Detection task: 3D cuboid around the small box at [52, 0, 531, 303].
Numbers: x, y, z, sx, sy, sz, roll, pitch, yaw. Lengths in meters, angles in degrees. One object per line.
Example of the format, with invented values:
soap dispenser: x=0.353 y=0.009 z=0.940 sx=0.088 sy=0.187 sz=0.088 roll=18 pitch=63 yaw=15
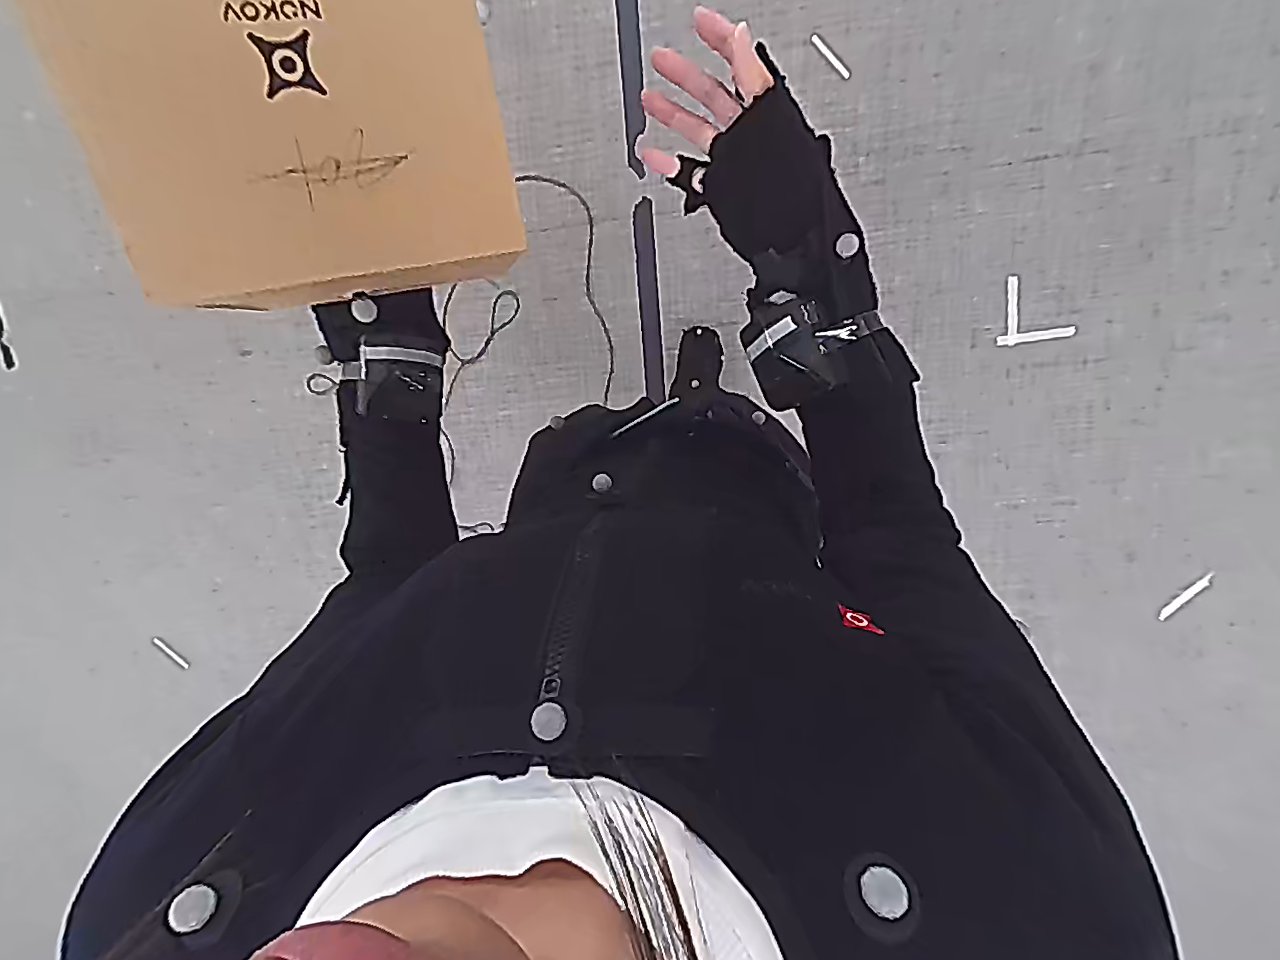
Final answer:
small box: x=-0.170 y=-0.204 z=0.305 sx=0.168 sy=0.176 sz=0.179 roll=-15 pitch=110 yaw=-14
